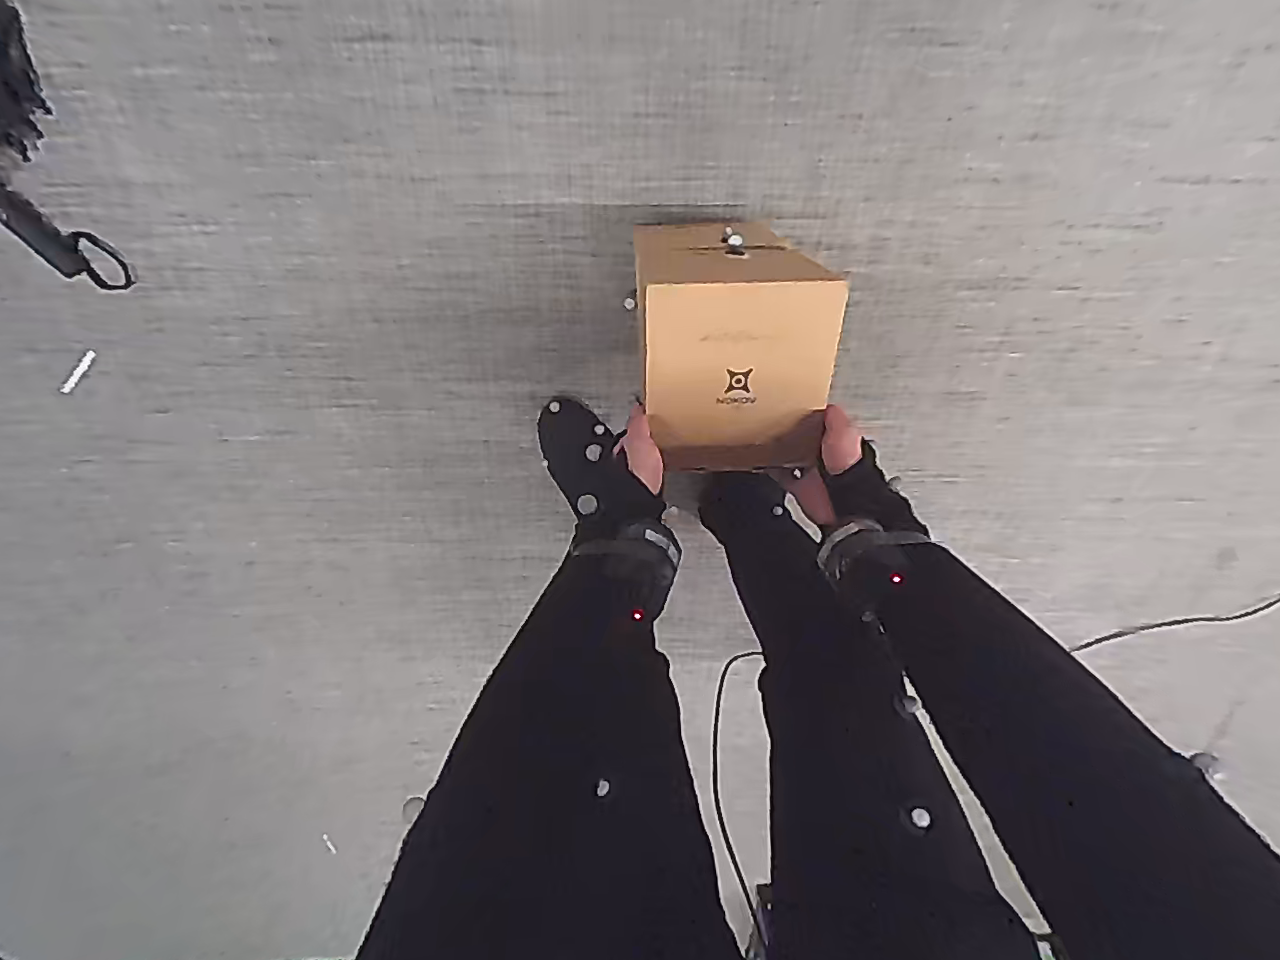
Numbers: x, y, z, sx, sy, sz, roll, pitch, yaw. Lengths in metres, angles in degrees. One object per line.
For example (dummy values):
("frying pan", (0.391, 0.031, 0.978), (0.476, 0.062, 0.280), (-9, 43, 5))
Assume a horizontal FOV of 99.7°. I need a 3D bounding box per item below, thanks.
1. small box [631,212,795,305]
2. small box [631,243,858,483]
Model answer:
("small box", (0.075, -0.209, 0.647), (0.168, 0.176, 0.179), (-2, 125, 1))
("small box", (0.078, -0.115, 0.511), (0.168, 0.176, 0.179), (-2, 123, -2))
